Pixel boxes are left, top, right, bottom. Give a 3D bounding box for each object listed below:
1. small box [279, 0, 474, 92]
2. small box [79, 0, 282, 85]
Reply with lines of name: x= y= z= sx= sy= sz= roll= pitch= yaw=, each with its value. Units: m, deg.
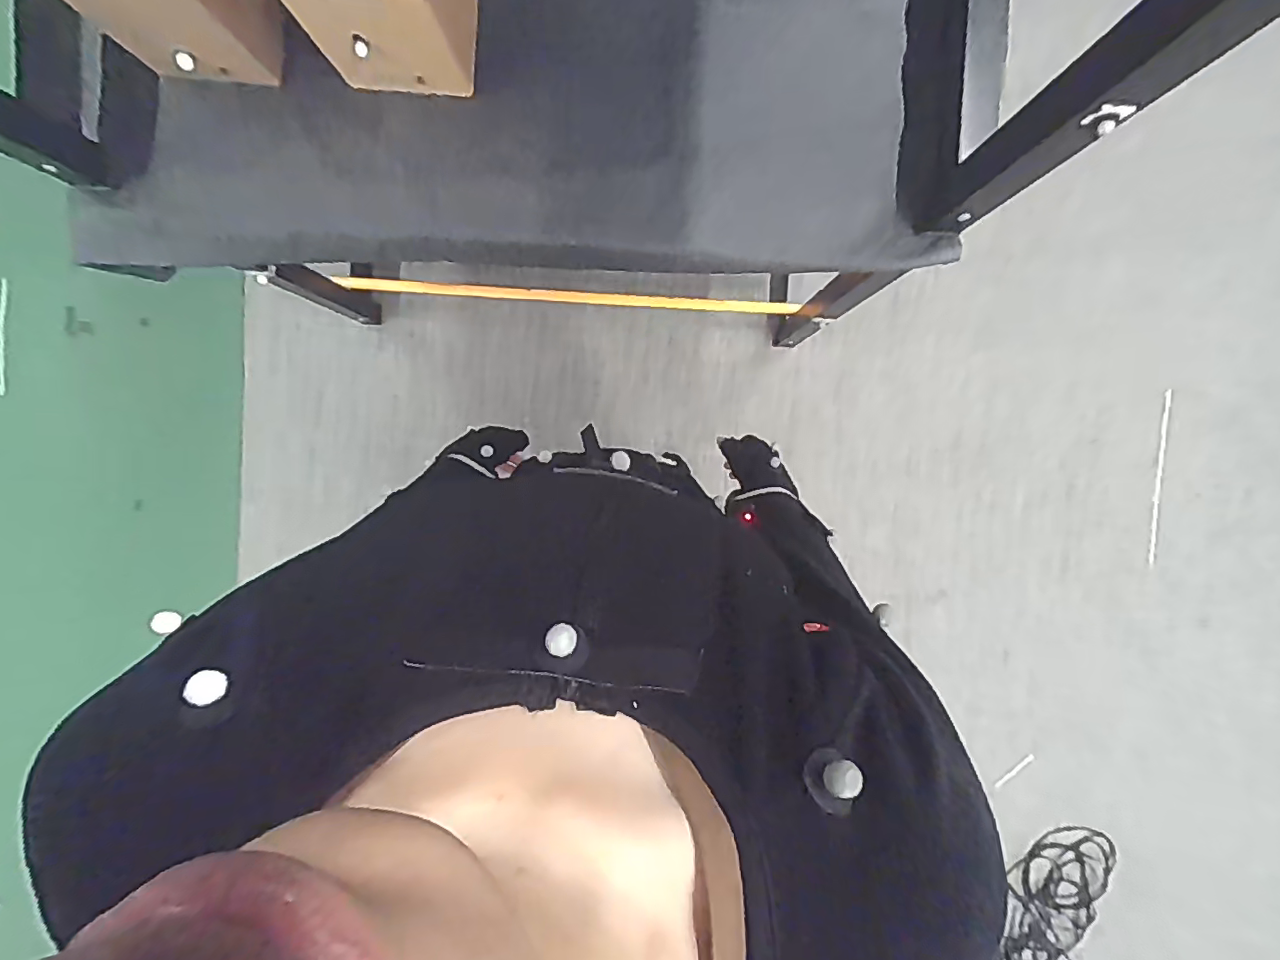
small box: x=-0.303 y=-0.602 z=0.641 sx=0.168 sy=0.176 sz=0.179 roll=4 pitch=93 yaw=-1
small box: x=-0.555 y=-0.616 z=0.636 sx=0.168 sy=0.176 sz=0.179 roll=4 pitch=94 yaw=-1
